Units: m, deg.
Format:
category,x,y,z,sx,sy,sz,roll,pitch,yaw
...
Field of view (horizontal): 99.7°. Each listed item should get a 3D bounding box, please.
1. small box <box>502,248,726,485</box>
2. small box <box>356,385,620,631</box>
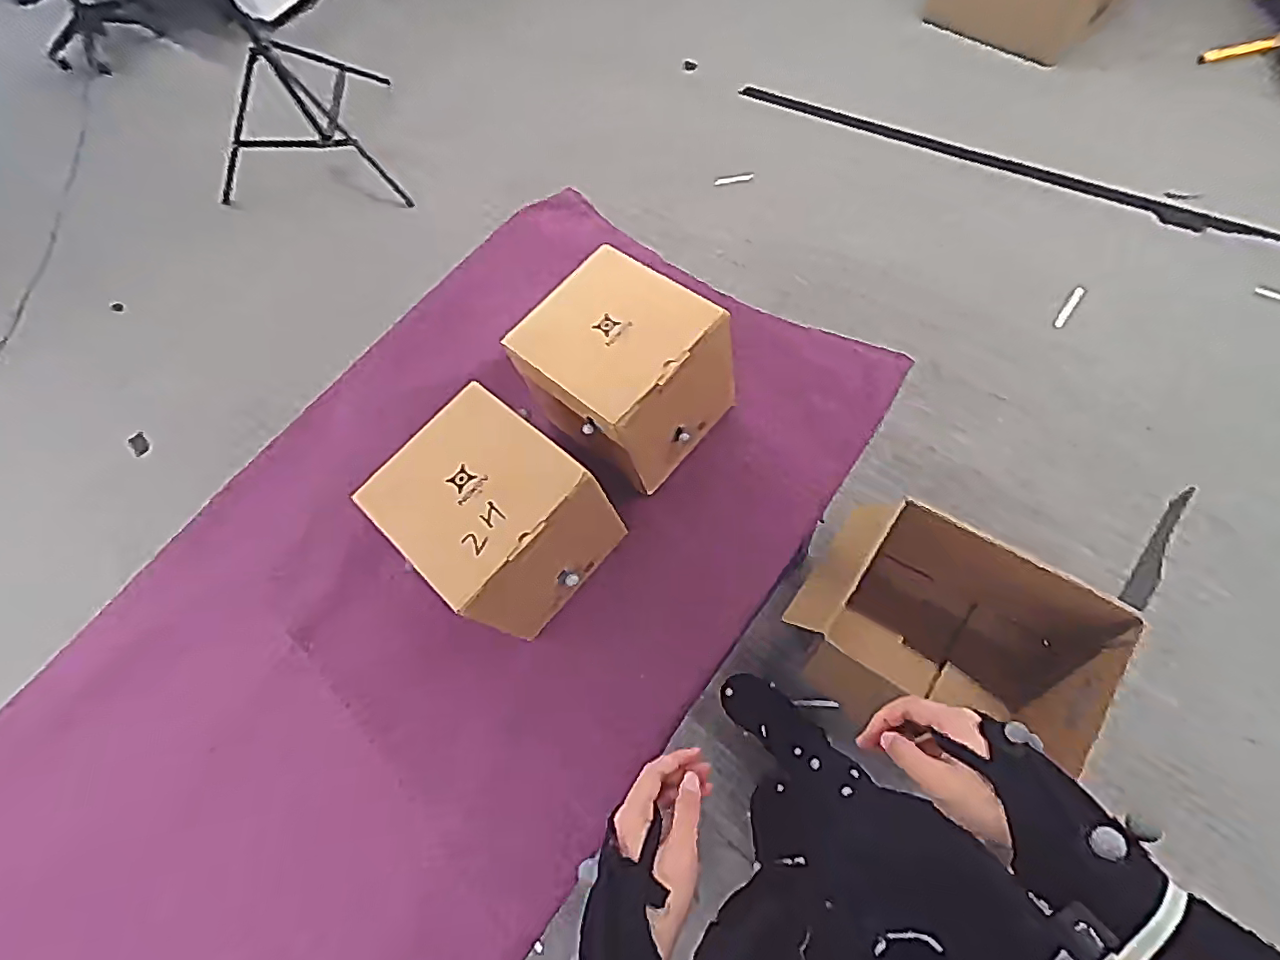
category,x,y,z,sx,sy,sz,roll,pitch,yaw
small box,-0.019,-0.121,0.622,0.179,0.176,0.168,37,78,24
small box,-0.147,0.039,0.576,0.179,0.176,0.168,37,78,24
